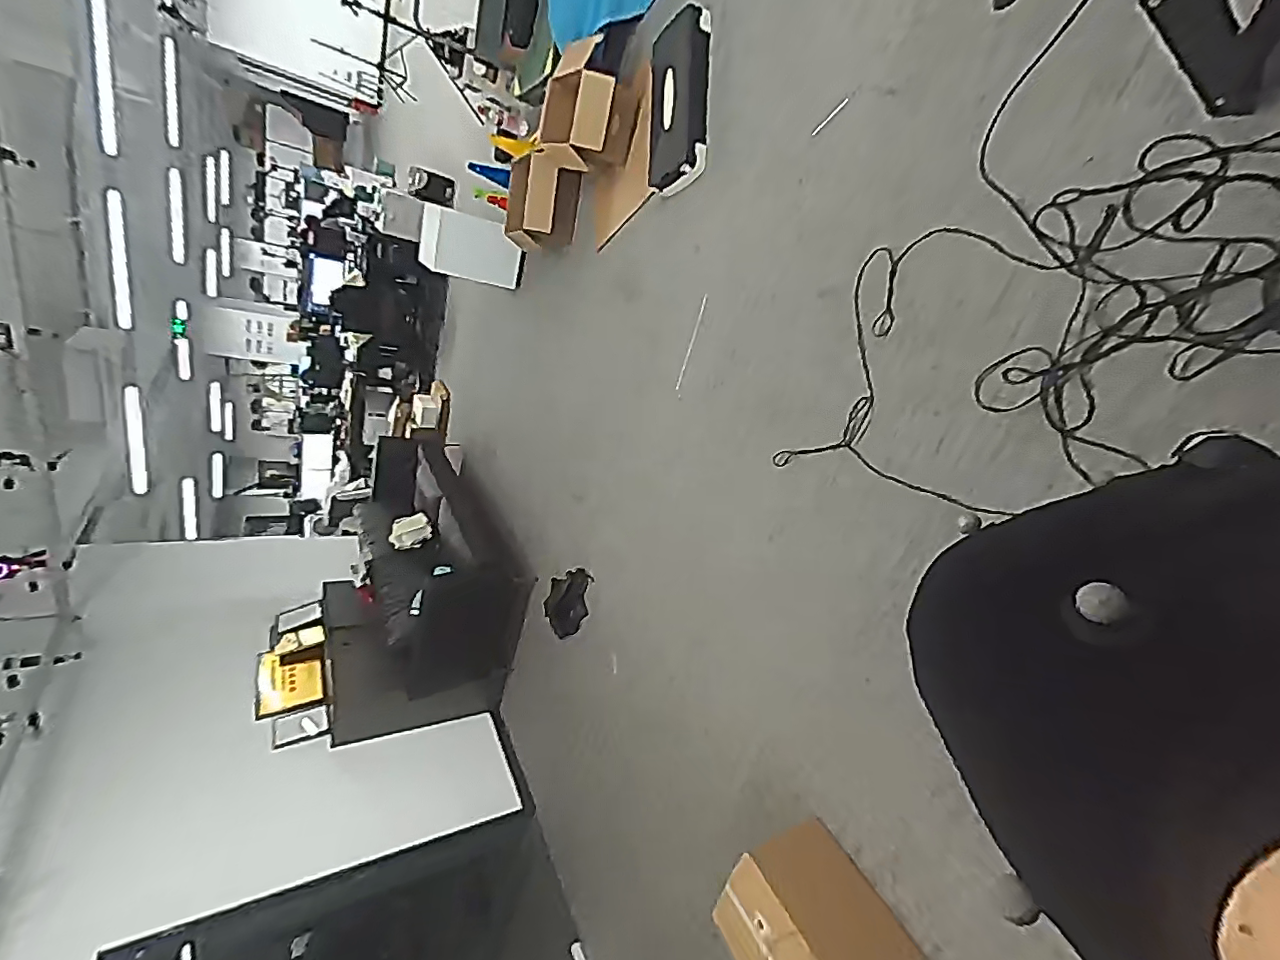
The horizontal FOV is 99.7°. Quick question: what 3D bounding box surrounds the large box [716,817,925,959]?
[{"bbox_3d":[0.487,1.268,1.517,0.408,0.320,0.320,46,125,49],"label":"large box"}]
